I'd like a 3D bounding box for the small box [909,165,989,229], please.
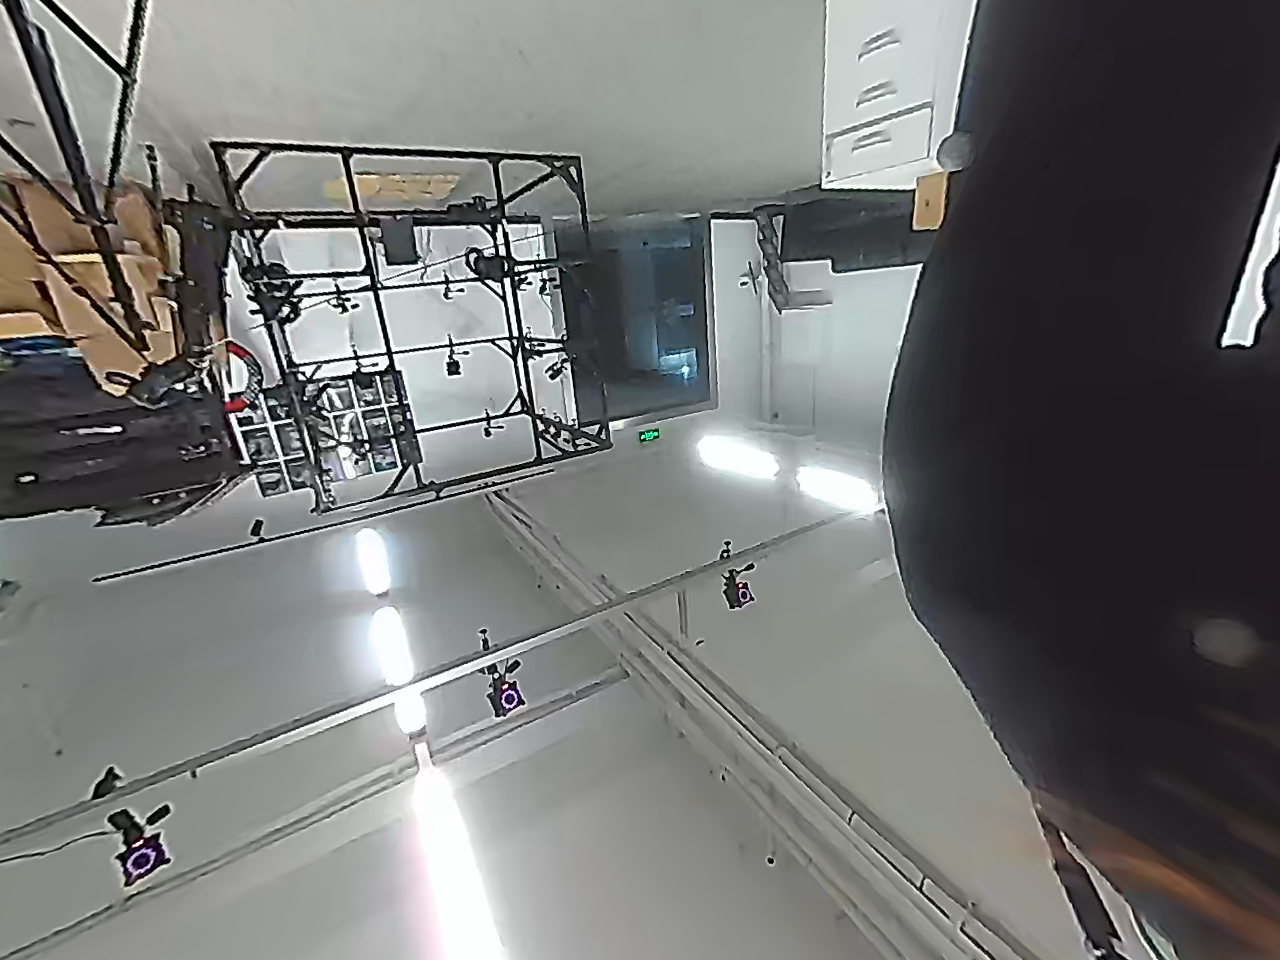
[{"bbox_3d":[1.052,-0.957,1.840,0.168,0.176,0.179,-18,-156,-30],"label":"small box"}]
